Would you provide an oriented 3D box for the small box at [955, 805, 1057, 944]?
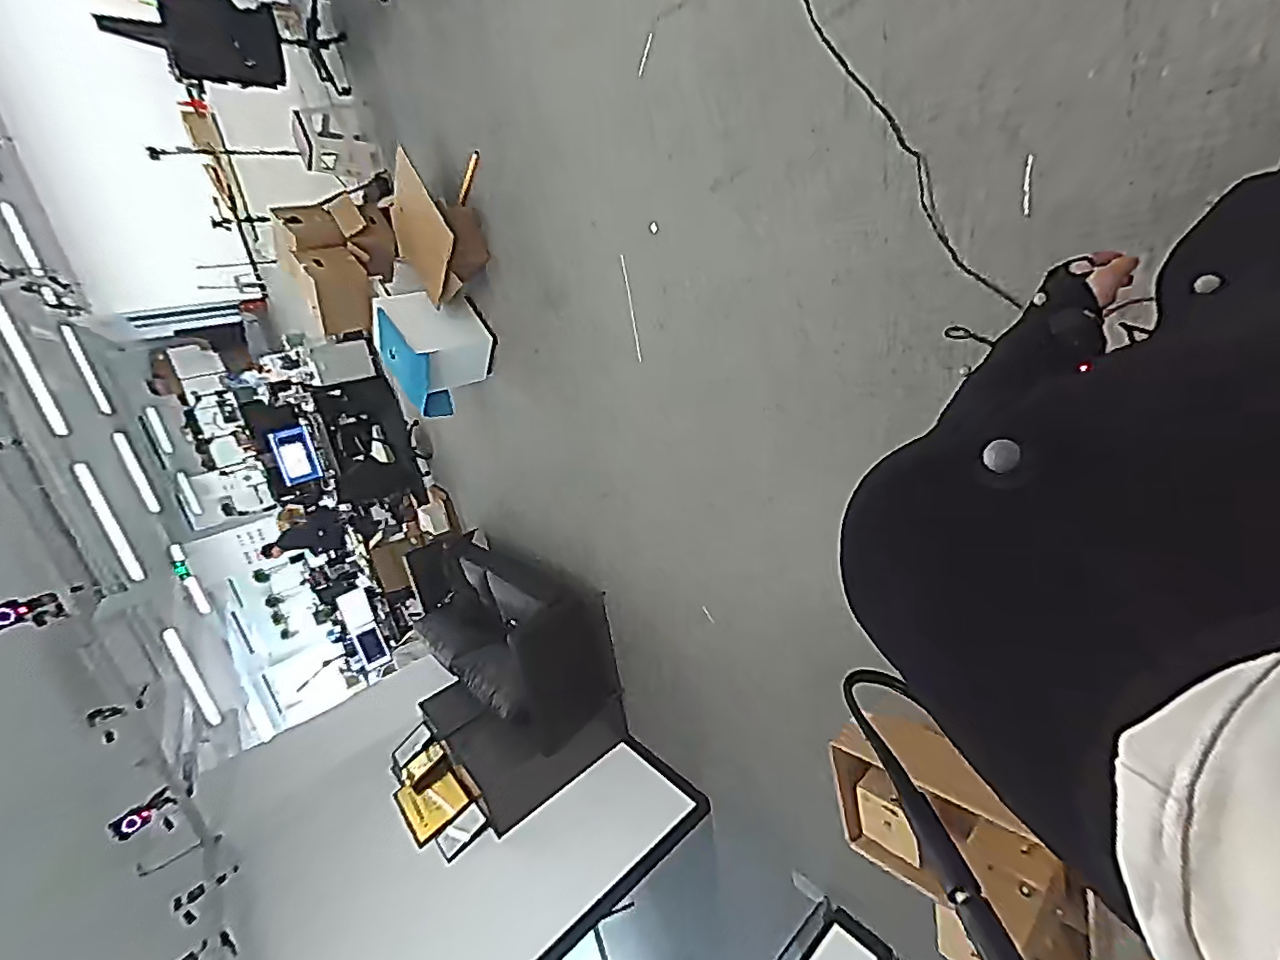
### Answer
[{"bbox_3d":[0.891,0.943,1.314,0.168,0.176,0.179,4,113,51],"label":"small box"}]

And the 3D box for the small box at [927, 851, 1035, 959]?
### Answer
[{"bbox_3d":[0.768,0.997,1.220,0.168,0.176,0.179,10,118,49],"label":"small box"}]
